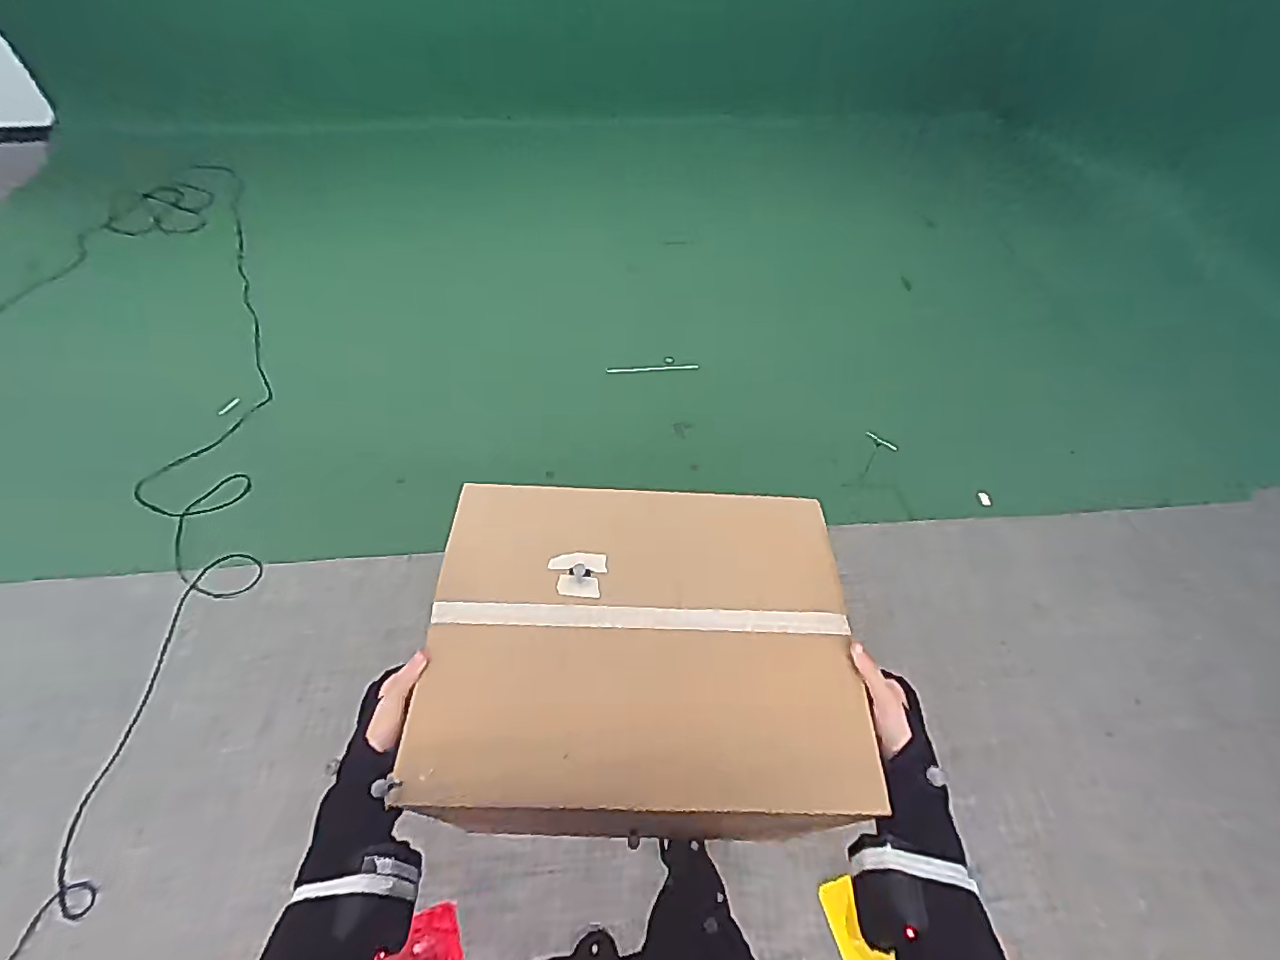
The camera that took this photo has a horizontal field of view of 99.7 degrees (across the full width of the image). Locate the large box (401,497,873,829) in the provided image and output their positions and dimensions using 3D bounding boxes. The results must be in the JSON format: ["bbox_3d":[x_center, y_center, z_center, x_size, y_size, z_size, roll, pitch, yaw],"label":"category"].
[{"bbox_3d":[-0.004,0.234,0.655,0.408,0.320,0.320,2,53,-2],"label":"large box"}]
